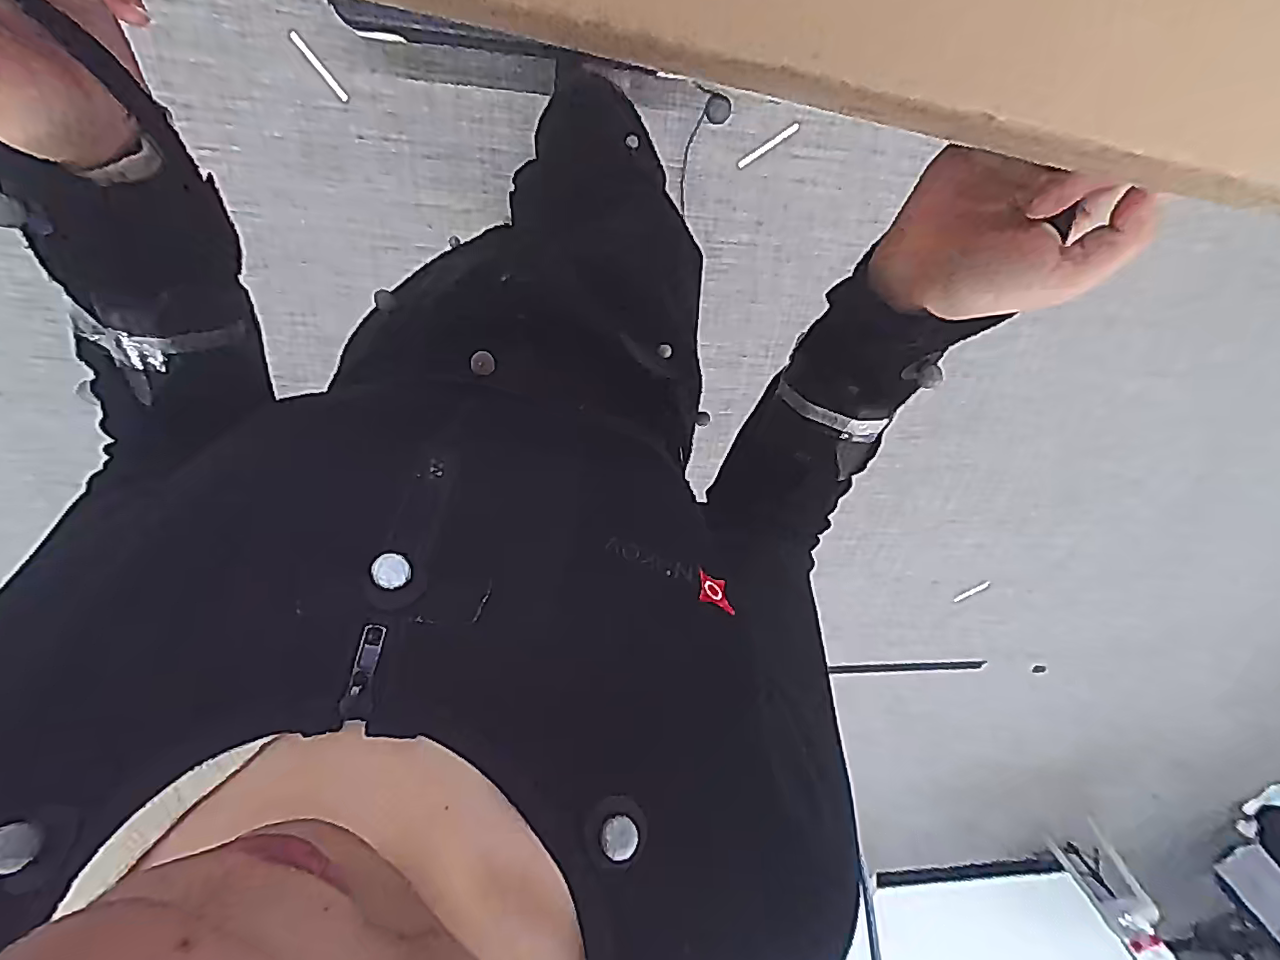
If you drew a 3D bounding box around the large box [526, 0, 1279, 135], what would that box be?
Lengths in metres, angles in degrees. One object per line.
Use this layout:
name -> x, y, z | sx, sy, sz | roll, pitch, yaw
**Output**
large box -> 0.007, -0.296, 0.102 | 0.408, 0.320, 0.320 | 6, 129, -9
